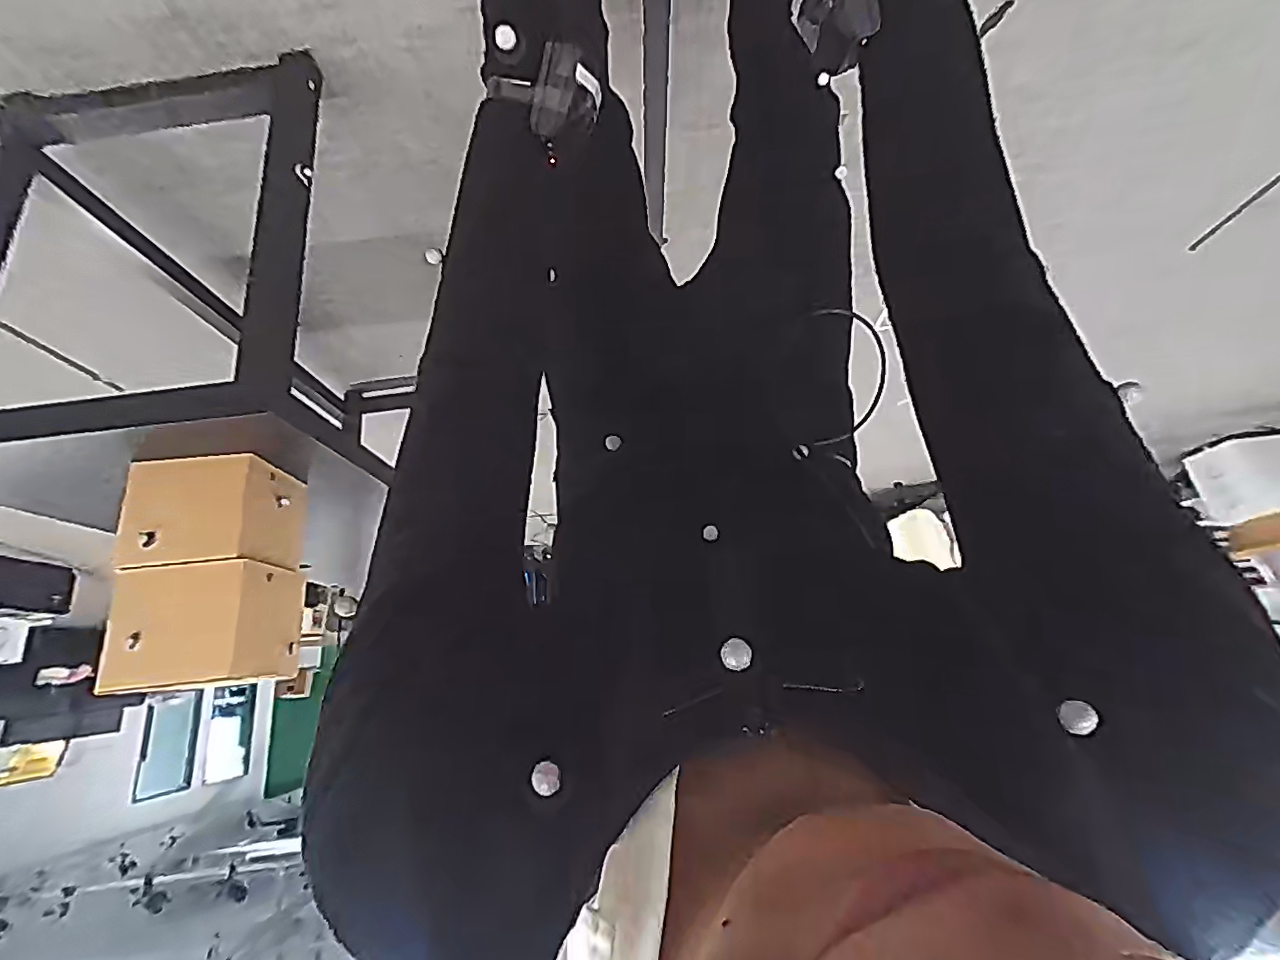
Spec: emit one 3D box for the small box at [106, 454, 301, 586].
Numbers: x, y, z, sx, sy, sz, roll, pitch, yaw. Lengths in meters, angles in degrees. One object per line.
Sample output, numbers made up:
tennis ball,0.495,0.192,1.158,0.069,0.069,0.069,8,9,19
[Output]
small box,-0.676,0.067,0.863,0.179,0.176,0.168,-5,162,-5
